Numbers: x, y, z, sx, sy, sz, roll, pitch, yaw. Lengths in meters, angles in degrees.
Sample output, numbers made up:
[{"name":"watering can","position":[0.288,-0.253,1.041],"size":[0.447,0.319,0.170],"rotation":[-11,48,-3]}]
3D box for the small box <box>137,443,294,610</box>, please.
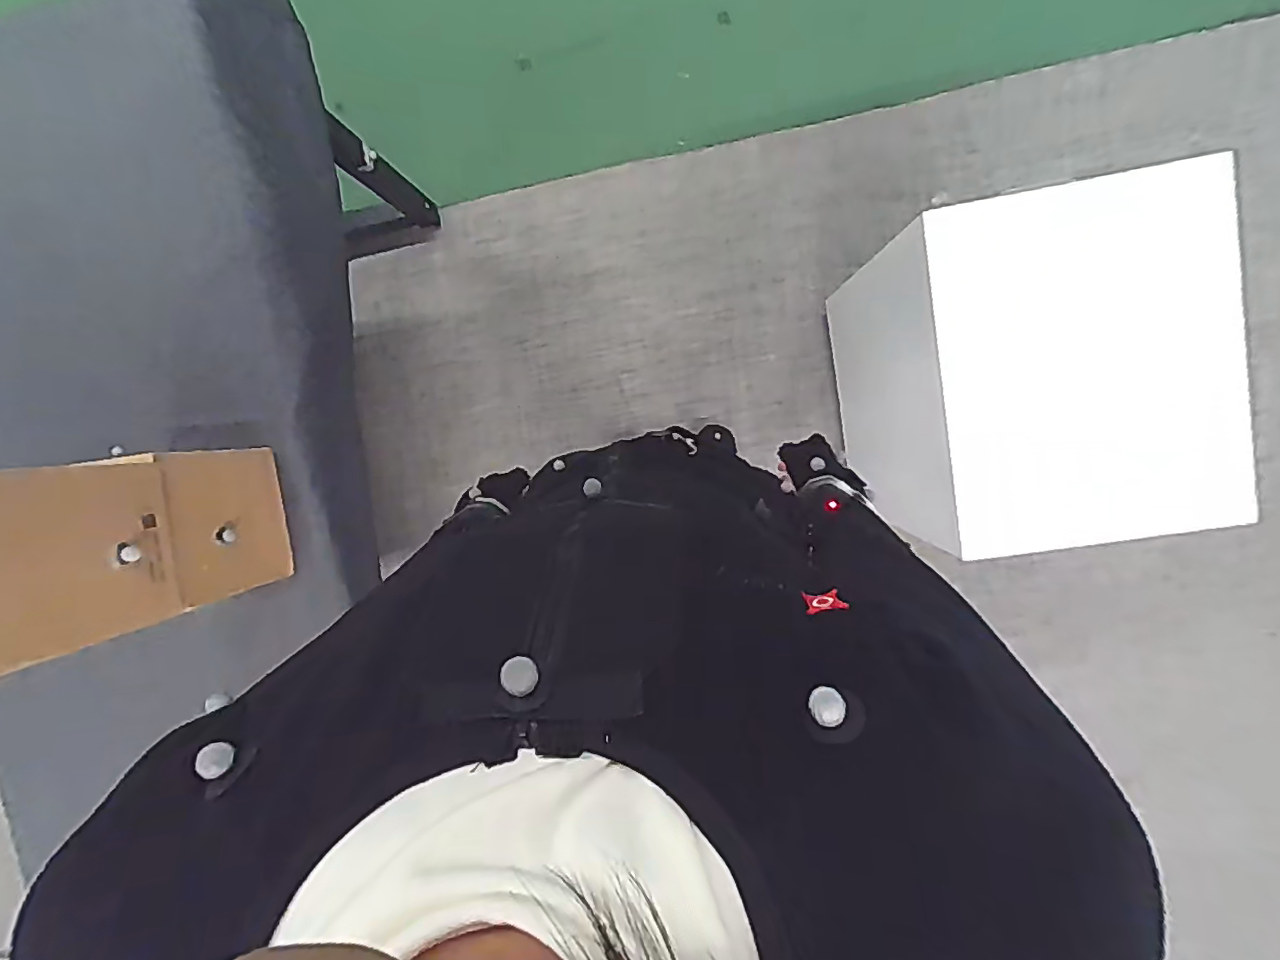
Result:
[{"name":"small box","position":[-0.572,0.053,0.675],"size":[0.168,0.176,0.179],"rotation":[-6,95,8]}]
